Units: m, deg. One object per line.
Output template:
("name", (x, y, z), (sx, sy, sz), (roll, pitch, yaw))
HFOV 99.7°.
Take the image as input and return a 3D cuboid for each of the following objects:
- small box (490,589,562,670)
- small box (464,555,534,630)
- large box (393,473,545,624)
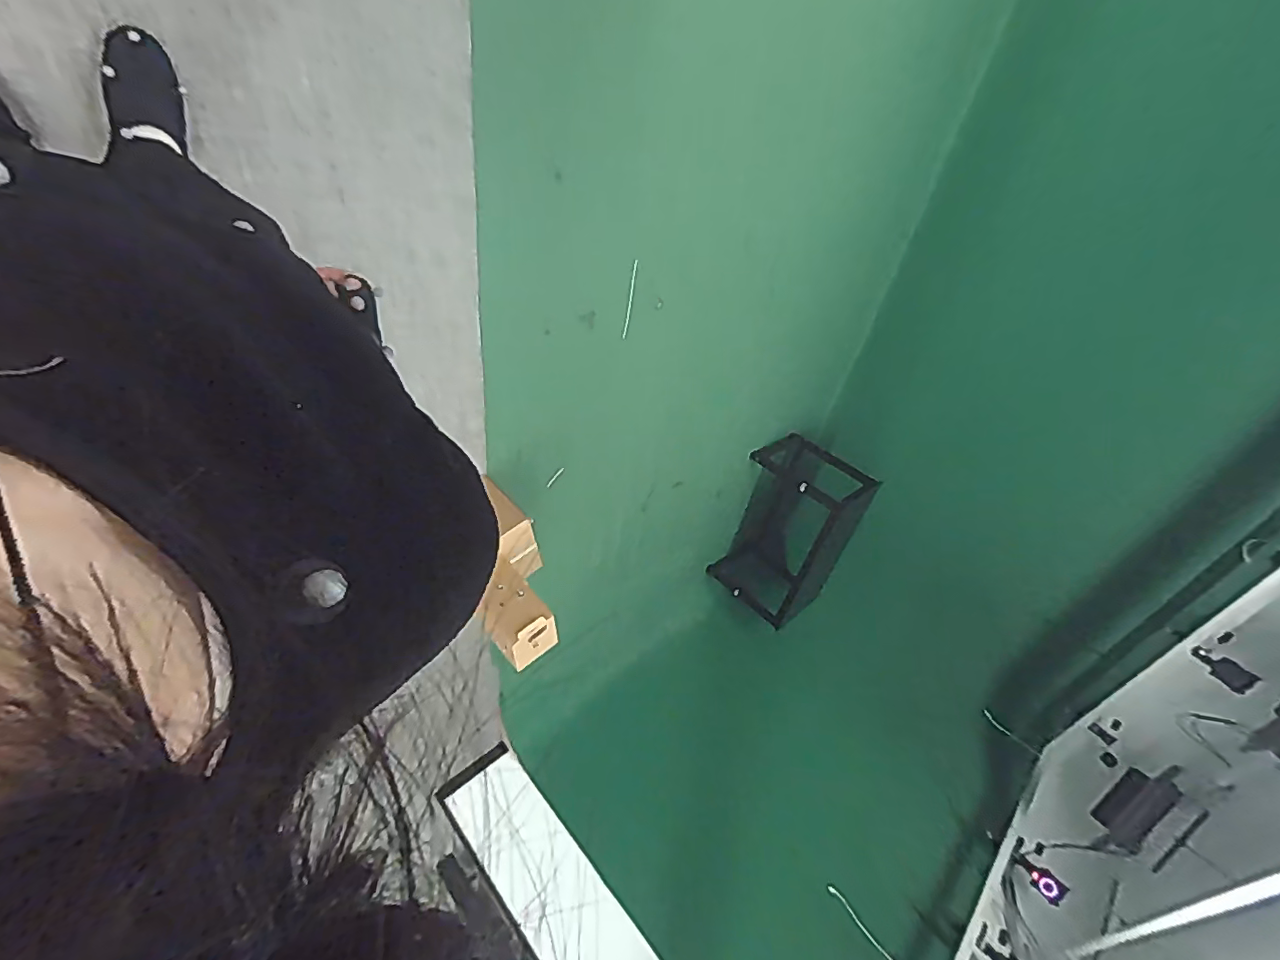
("small box", (-0.384, 0.490, 1.813), (0.168, 0.176, 0.179), (-32, 143, -30))
("small box", (-0.487, 0.396, 1.899), (0.179, 0.176, 0.168), (-32, 143, -28))
("large box", (-0.632, 0.251, 2.036), (0.408, 0.320, 0.320), (-36, 147, -26))
